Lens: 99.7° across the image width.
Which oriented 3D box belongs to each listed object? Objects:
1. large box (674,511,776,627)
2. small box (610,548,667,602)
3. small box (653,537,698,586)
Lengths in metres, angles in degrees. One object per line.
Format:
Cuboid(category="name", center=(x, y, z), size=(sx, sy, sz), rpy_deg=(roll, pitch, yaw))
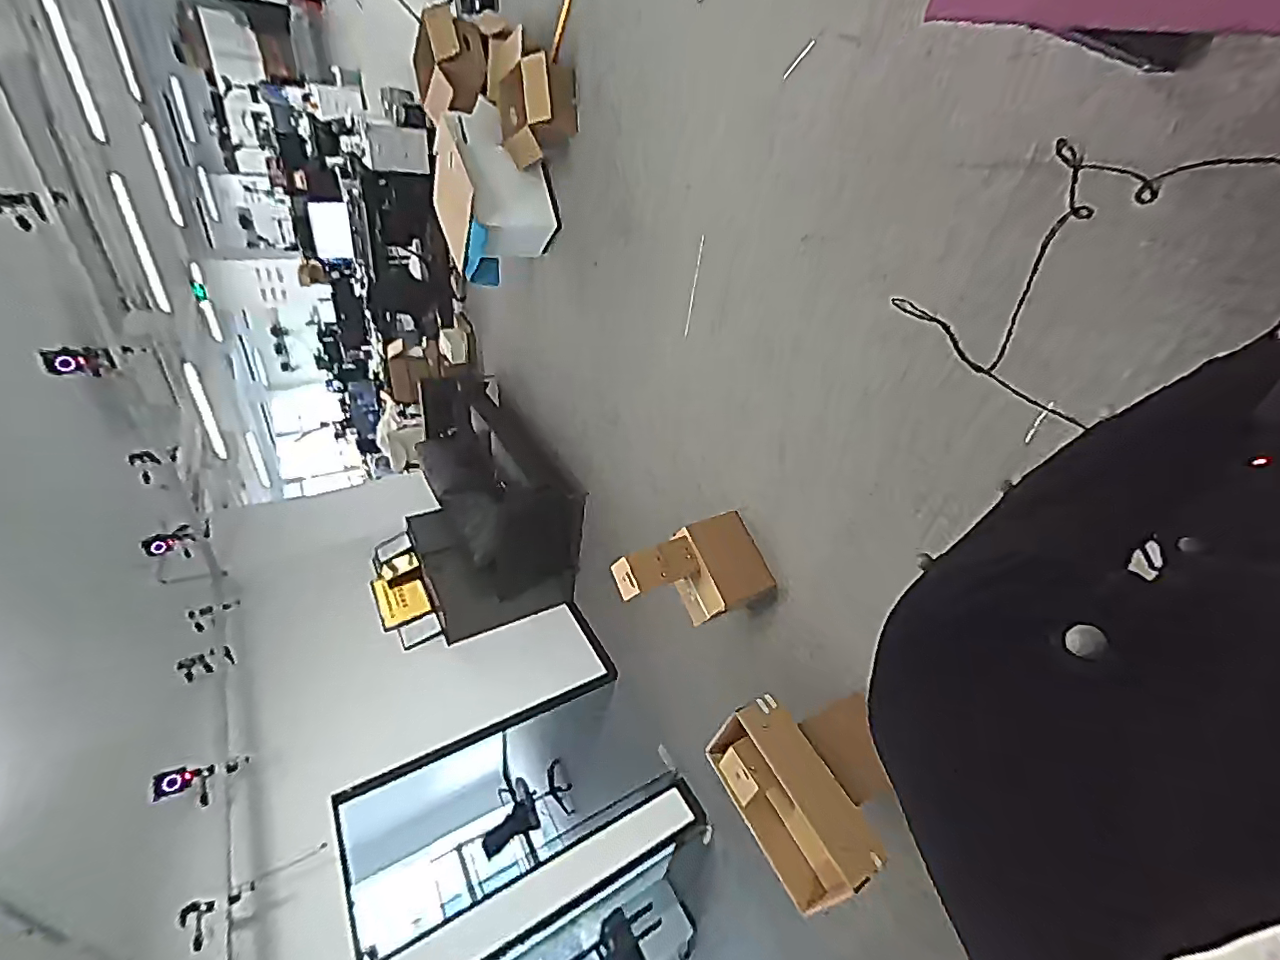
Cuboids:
Cuboid(category="large box", center=(0.362, 0.418, 2.564), size=(0.408, 0.320, 0.320), rpy_deg=(62, 148, 20))
Cuboid(category="small box", center=(0.000, 0.411, 2.352), size=(0.168, 0.176, 0.179), rpy_deg=(66, 149, 15))
Cuboid(category="small box", center=(0.133, 0.376, 2.441), size=(0.179, 0.176, 0.168), rpy_deg=(-46, 64, 54))
